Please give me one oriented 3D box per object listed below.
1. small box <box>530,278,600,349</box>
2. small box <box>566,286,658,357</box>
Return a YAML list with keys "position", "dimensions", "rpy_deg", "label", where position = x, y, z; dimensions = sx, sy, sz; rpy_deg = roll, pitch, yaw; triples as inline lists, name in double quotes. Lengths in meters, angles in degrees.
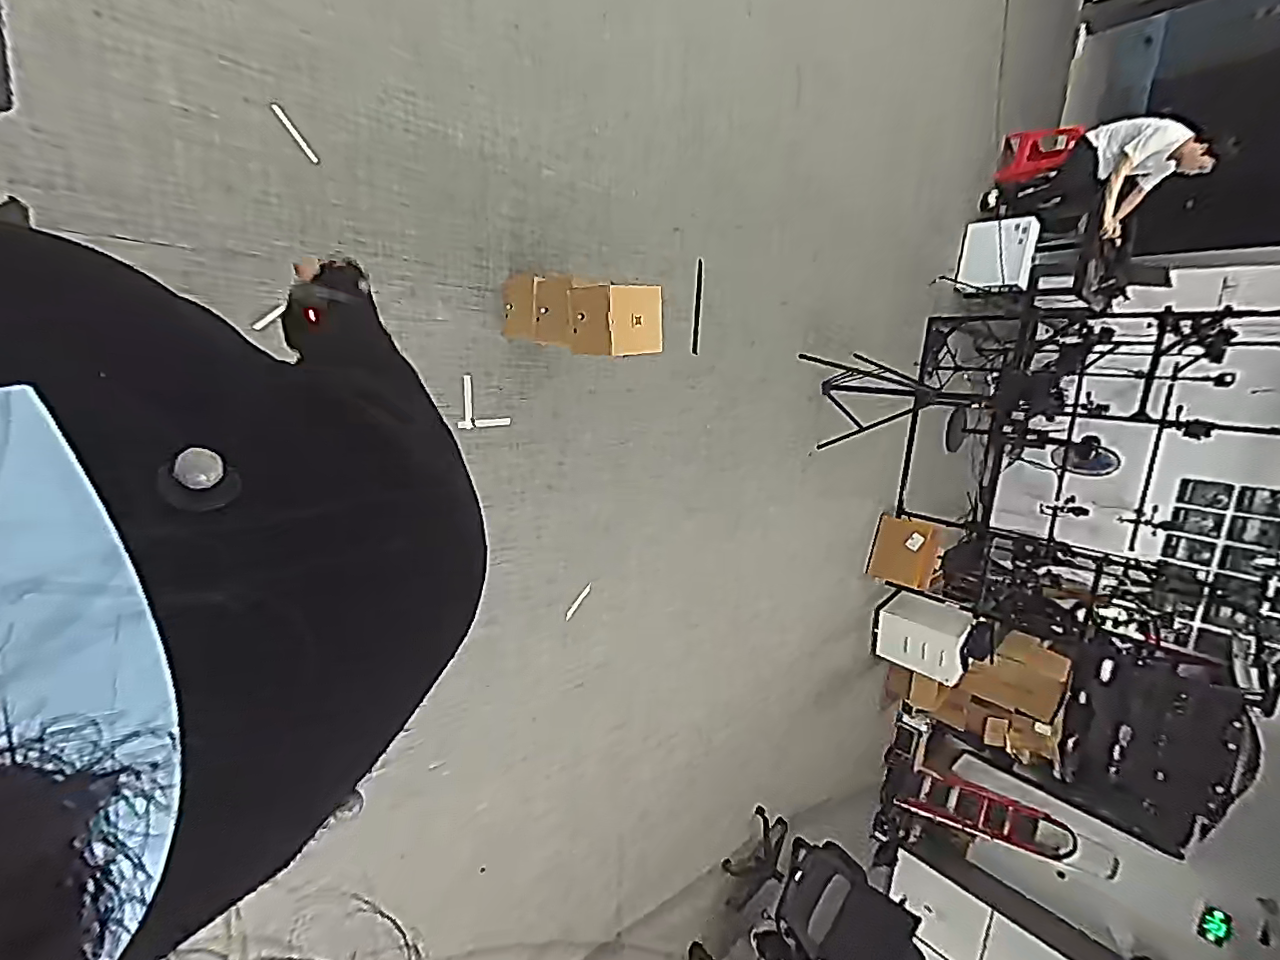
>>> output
- position: [-0.182, -0.454, 1.503]
  dimensions: [0.179, 0.176, 0.168]
  rpy_deg: [-2, 102, -44]
  label: "small box"
- position: [-0.071, -0.409, 1.392]
  dimensions: [0.179, 0.176, 0.168]
  rpy_deg: [-17, 113, -40]
  label: "small box"
